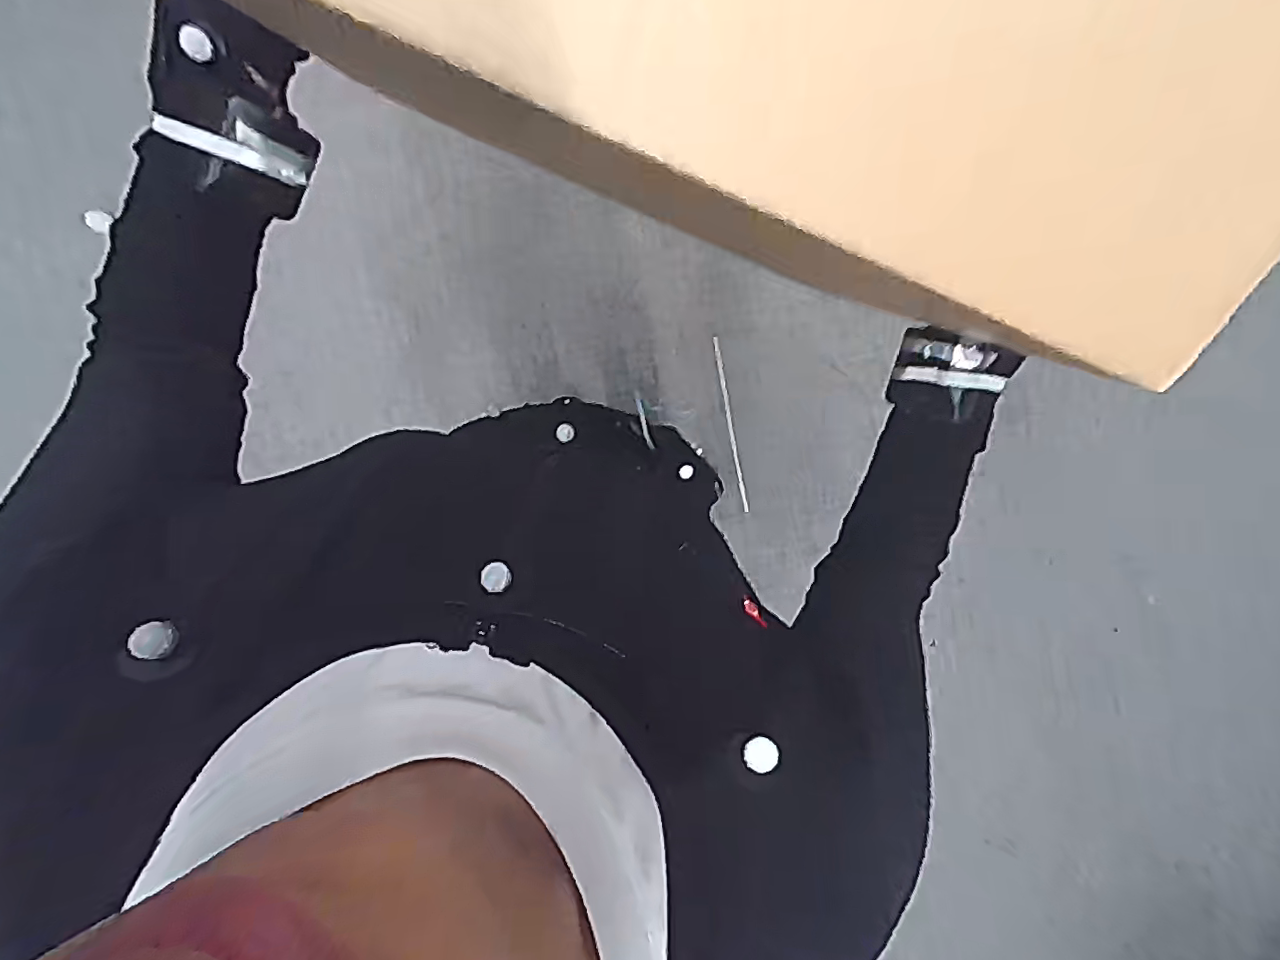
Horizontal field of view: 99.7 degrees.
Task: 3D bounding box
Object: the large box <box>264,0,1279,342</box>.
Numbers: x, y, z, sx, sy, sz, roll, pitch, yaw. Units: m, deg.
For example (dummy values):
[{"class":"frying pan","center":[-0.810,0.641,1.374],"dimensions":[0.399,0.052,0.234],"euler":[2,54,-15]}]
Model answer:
[{"class":"large box","center":[0.060,-0.303,0.250],"dimensions":[0.408,0.320,0.320],"euler":[17,114,-15]}]
